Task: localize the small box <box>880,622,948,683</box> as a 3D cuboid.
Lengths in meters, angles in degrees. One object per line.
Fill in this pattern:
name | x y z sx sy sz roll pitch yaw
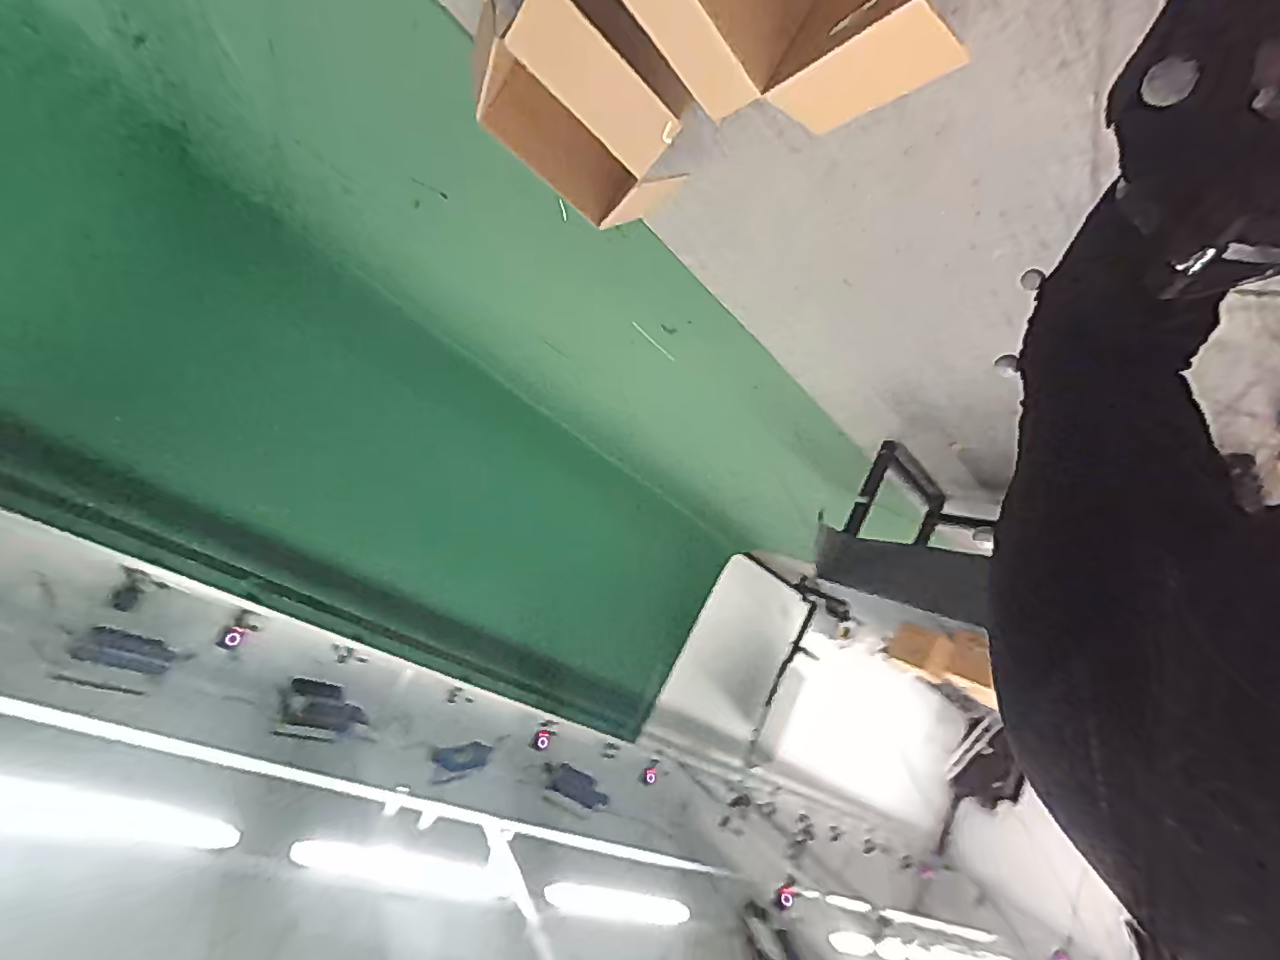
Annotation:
small box | 1.149 0.715 2.264 0.168 0.176 0.179 37 165 -30
